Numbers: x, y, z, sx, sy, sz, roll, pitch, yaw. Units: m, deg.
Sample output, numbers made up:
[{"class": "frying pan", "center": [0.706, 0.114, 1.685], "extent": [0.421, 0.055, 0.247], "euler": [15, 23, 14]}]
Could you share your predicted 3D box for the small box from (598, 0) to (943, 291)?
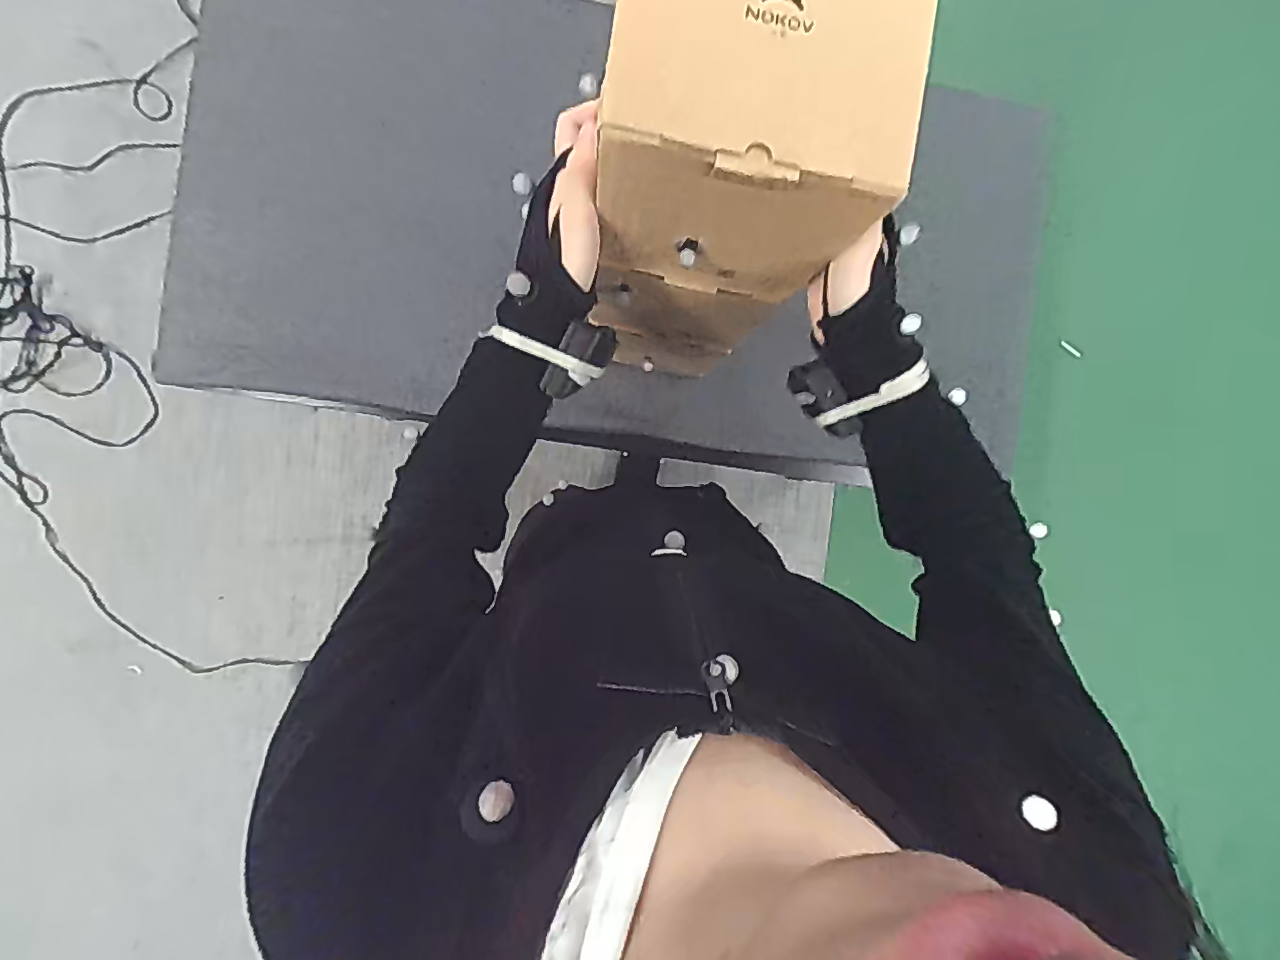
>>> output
[{"class": "small box", "center": [0.065, -0.247, 0.350], "extent": [0.168, 0.176, 0.179], "euler": [8, 91, -6]}]

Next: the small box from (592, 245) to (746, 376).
[{"class": "small box", "center": [0.033, -0.242, 0.675], "extent": [0.168, 0.176, 0.179], "euler": [10, 90, -6]}]
